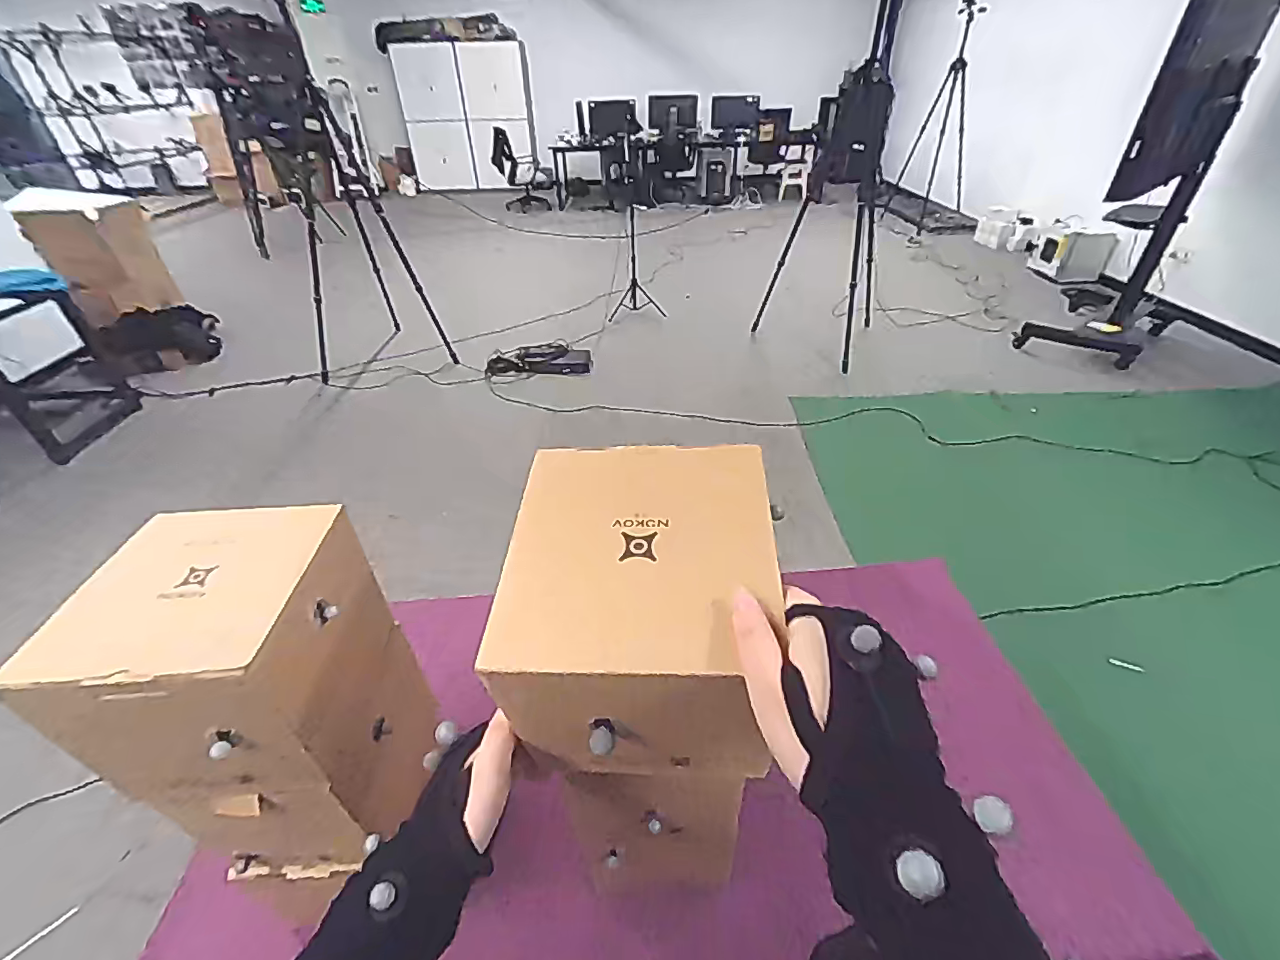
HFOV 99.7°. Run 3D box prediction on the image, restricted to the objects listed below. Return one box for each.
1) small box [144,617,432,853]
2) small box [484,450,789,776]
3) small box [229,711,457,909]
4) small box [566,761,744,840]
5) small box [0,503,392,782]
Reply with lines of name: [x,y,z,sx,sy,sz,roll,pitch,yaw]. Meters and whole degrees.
small box: [-0.337,0.267,0.568,0.168,0.176,0.179,0,37,0]
small box: [0.008,0.098,0.394,0.168,0.176,0.179,0,45,5]
small box: [-0.338,0.402,0.663,0.168,0.176,0.179,0,38,-1]
small box: [0.013,0.253,0.579,0.168,0.176,0.179,0,38,1]
small box: [-0.338,0.140,0.466,0.168,0.176,0.179,-1,37,-2]
